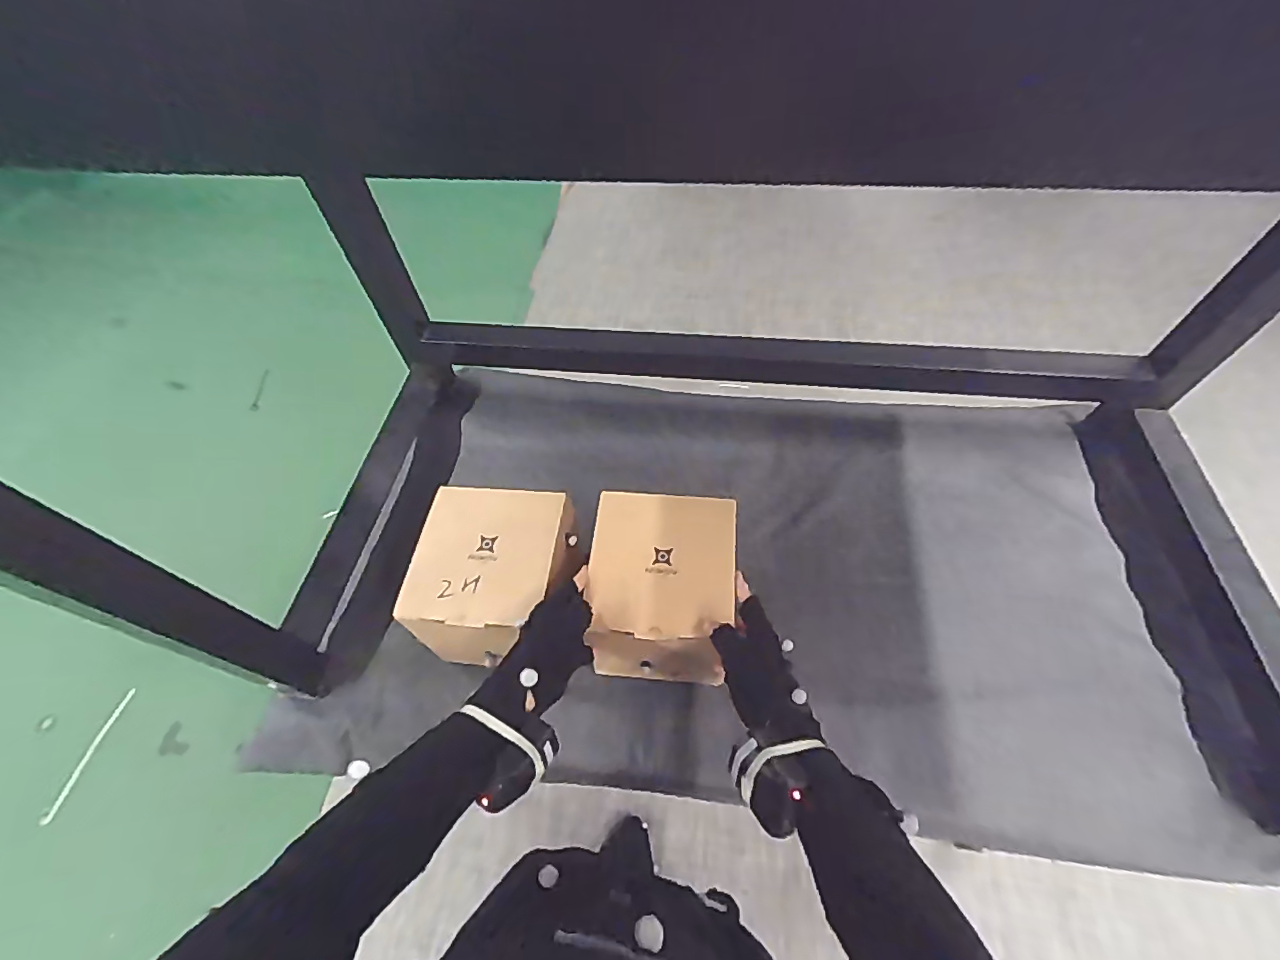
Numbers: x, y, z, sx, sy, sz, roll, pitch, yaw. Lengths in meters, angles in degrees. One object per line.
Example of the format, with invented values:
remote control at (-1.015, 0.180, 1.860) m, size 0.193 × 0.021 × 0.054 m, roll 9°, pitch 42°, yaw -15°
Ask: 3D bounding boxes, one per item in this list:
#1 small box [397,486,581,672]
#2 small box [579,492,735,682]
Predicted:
small box at (-0.176, 0.129, 0.697) m, size 0.168 × 0.176 × 0.179 m, roll 3°, pitch 55°, yaw 6°
small box at (0.027, 0.136, 0.677) m, size 0.168 × 0.176 × 0.179 m, roll 3°, pitch 56°, yaw 6°
